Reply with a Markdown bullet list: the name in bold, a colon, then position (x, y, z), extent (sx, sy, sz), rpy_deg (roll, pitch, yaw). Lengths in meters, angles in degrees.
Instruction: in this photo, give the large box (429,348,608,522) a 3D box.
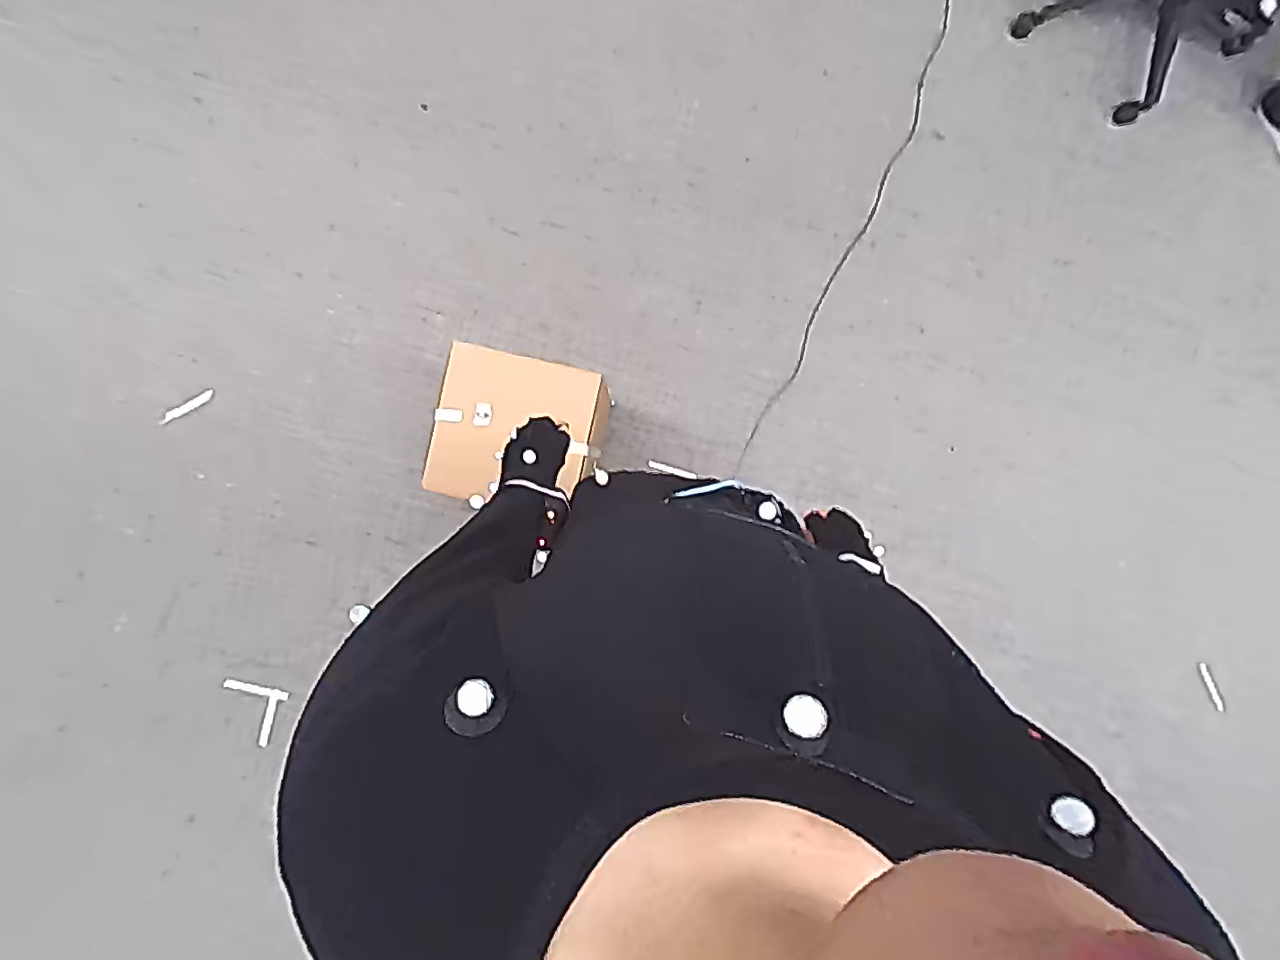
- **large box**: position (-0.264, -0.104, 1.300), extent (0.320, 0.408, 0.320), rpy_deg (14, 92, -2)
